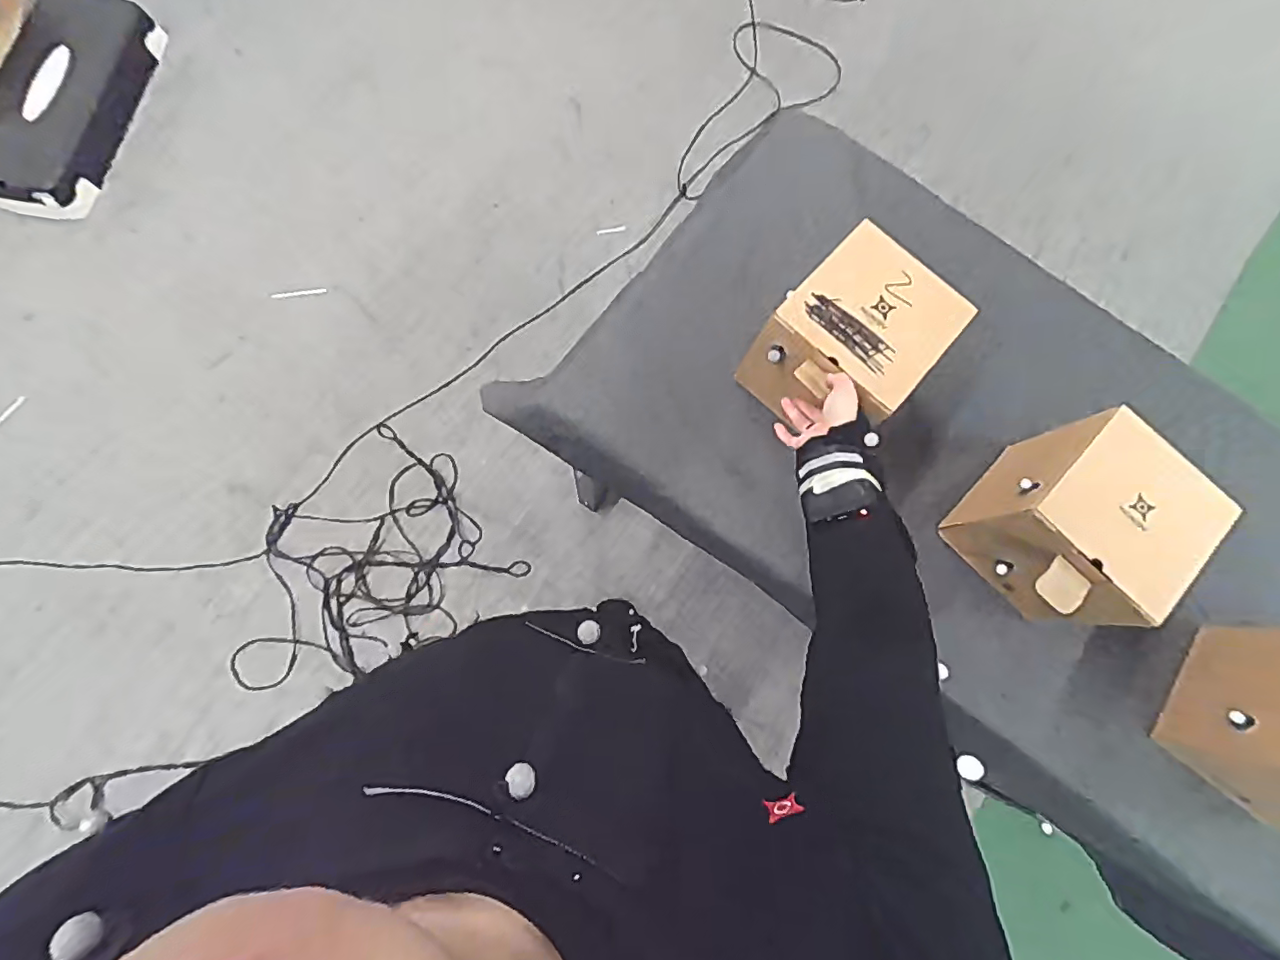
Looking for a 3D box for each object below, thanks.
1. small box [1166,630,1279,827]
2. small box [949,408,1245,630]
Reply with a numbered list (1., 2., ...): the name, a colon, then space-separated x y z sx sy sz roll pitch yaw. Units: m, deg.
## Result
1. small box: 0.755 0.288 0.601 0.168 0.176 0.179 38 75 3
2. small box: 0.513 0.051 0.634 0.179 0.176 0.168 -44 85 -12
